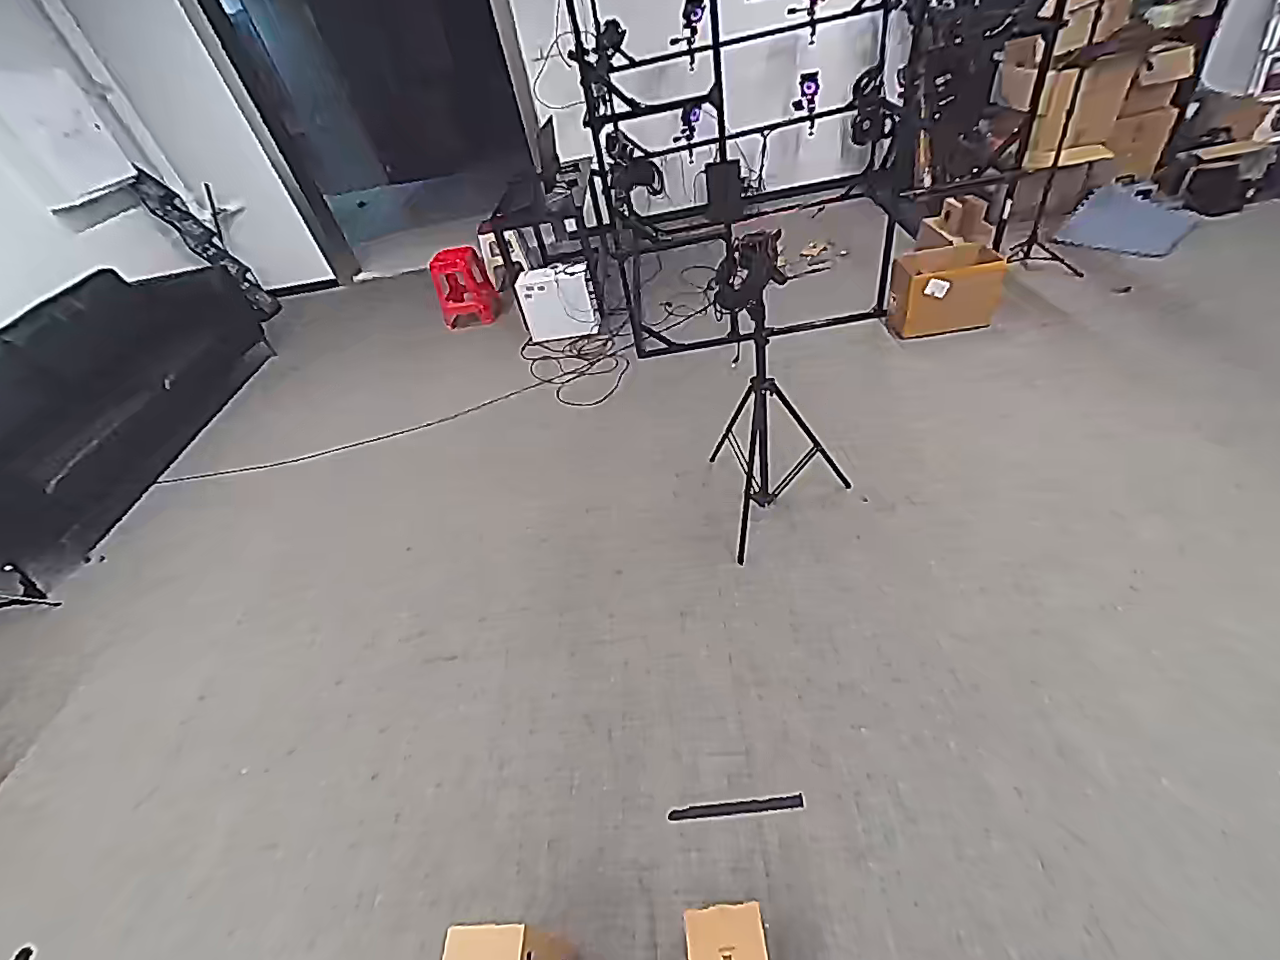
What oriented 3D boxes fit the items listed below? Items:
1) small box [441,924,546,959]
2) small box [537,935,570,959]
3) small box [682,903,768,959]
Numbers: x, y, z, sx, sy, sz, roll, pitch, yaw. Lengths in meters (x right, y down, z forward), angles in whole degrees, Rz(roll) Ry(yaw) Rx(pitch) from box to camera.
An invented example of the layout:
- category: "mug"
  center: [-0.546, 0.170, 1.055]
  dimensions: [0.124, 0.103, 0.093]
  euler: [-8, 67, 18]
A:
- category: "small box"
  center: [-0.295, 1.010, 1.073]
  dimensions: [0.168, 0.176, 0.179]
  euler: [-8, 42, 8]
- category: "small box"
  center: [-0.257, 1.126, 1.184]
  dimensions: [0.168, 0.176, 0.179]
  euler: [-8, 41, 8]
- category: "small box"
  center: [0.191, 1.040, 1.158]
  dimensions: [0.168, 0.176, 0.179]
  euler: [-11, 41, 4]
